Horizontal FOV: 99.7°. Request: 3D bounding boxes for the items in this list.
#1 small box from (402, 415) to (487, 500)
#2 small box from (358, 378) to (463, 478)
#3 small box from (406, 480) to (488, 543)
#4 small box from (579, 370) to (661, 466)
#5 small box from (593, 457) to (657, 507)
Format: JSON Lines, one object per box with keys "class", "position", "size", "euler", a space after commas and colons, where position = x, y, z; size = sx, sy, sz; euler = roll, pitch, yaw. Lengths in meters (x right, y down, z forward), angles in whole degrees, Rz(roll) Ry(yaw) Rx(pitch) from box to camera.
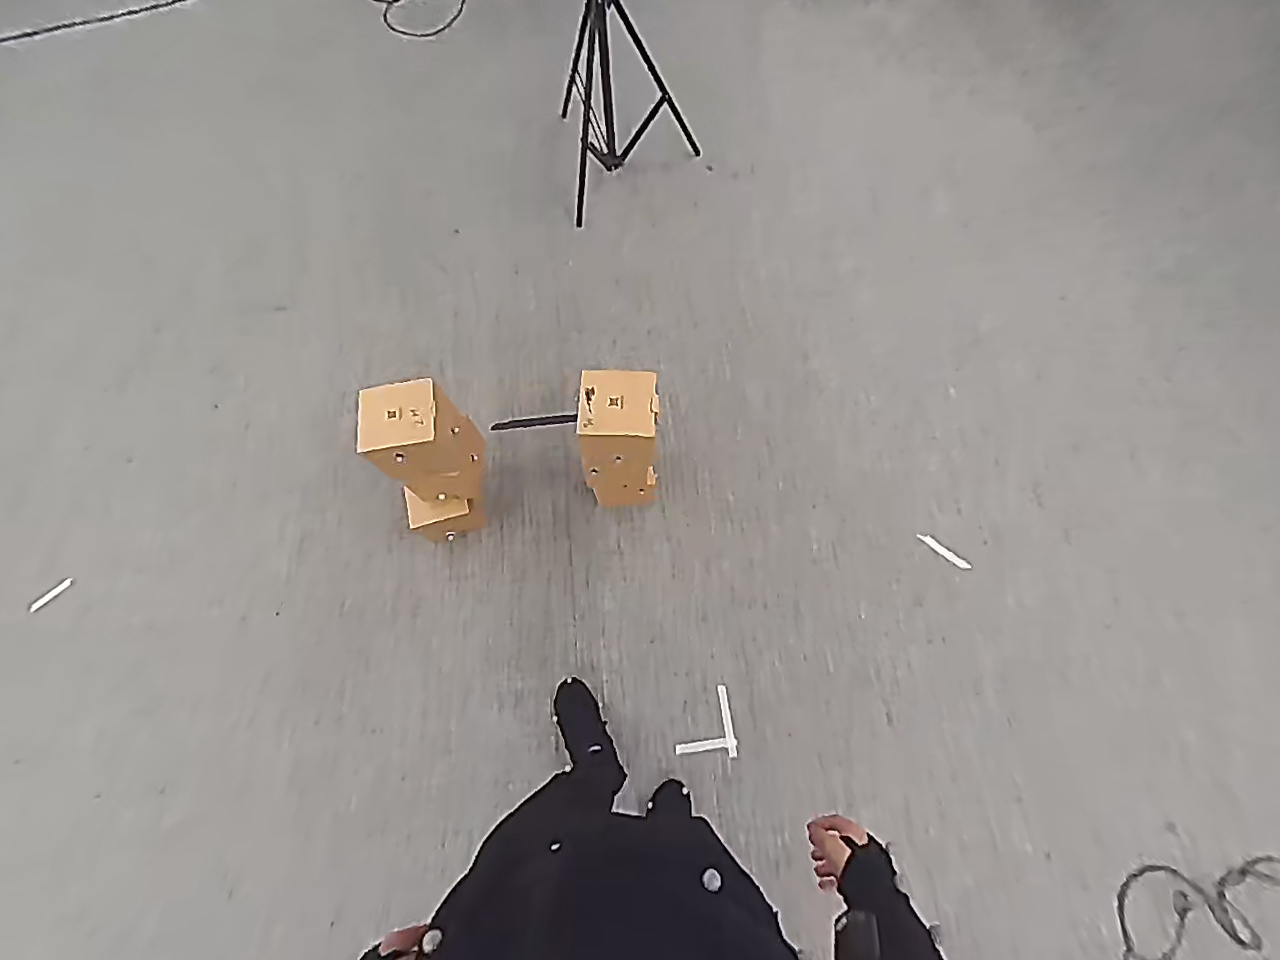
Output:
{"class": "small box", "position": [-0.514, -0.056, 1.434], "size": [0.168, 0.176, 0.179], "euler": [-2, 69, 2]}
{"class": "small box", "position": [-0.536, -0.116, 1.282], "size": [0.179, 0.176, 0.168], "euler": [-9, 68, -1]}
{"class": "small box", "position": [-0.556, 0.063, 1.564], "size": [0.168, 0.176, 0.179], "euler": [-16, 69, -4]}
{"class": "small box", "position": [-0.044, -0.141, 1.275], "size": [0.179, 0.176, 0.168], "euler": [3, 68, 1]}
{"class": "small box", "position": [-0.043, -0.025, 1.582], "size": [0.179, 0.176, 0.168], "euler": [-5, 69, -1]}
